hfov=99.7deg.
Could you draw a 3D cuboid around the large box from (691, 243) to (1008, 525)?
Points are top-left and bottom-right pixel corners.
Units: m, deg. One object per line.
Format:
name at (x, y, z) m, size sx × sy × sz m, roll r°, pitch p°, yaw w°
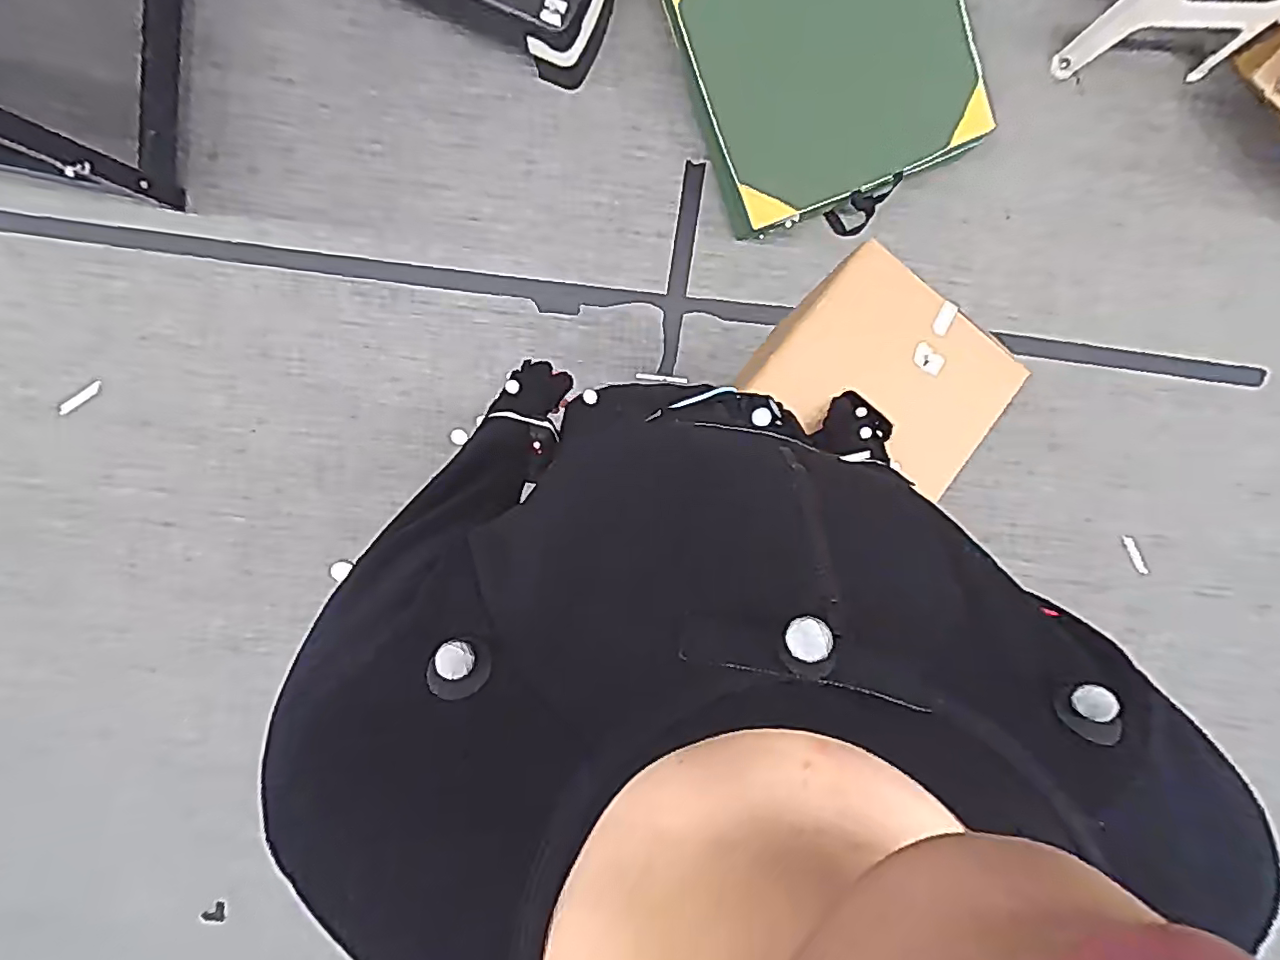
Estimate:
large box at (0.332, -0.134, 0.979) m, size 0.320 × 0.408 × 0.320 m, roll 41°, pitch 85°, yaw -1°
